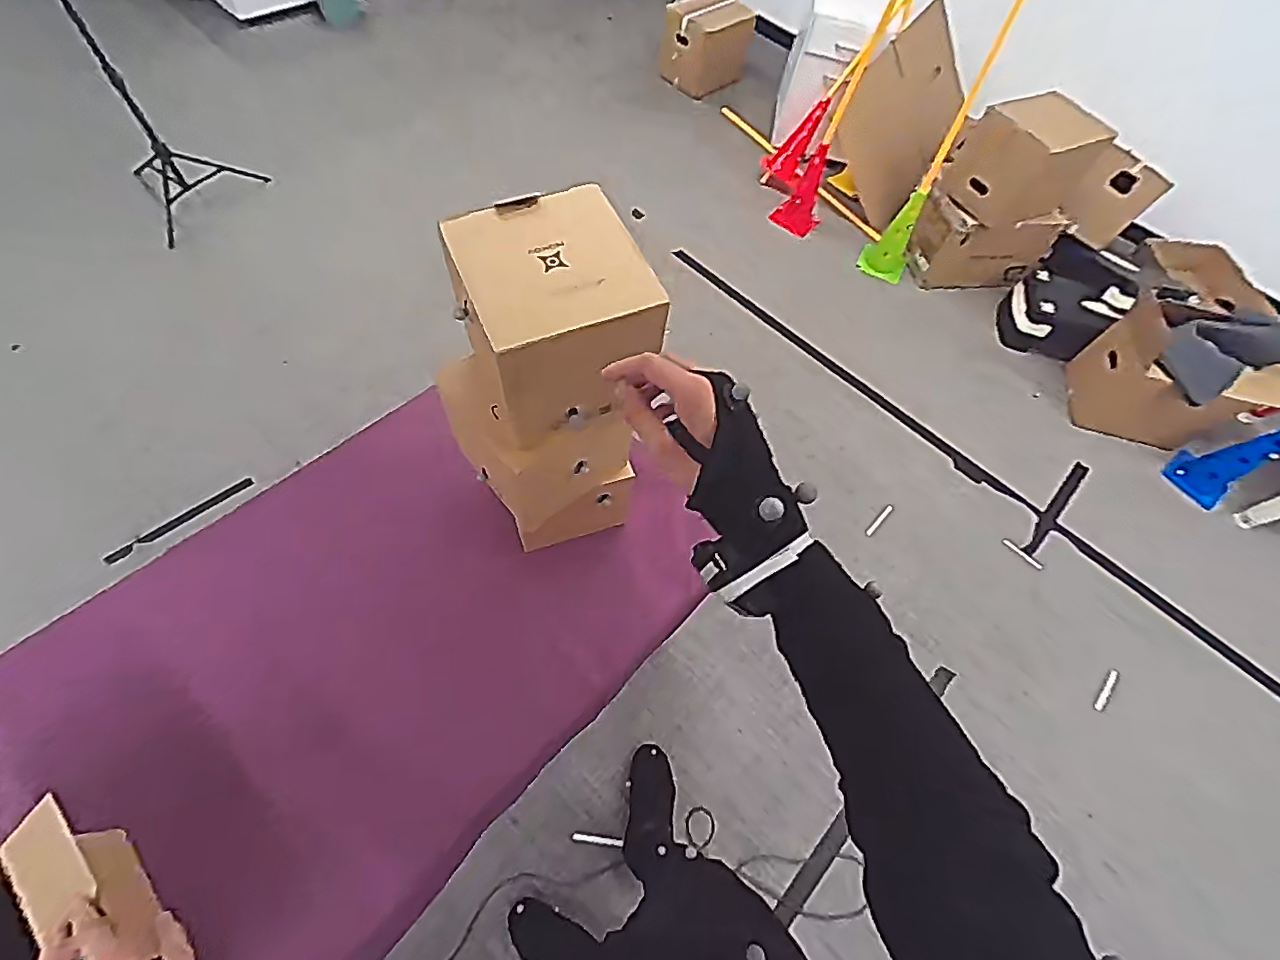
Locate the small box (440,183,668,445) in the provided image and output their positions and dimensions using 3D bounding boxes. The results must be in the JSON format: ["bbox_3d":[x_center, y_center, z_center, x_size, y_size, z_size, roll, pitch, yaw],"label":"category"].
[{"bbox_3d":[-0.089,-0.167,0.564,0.168,0.176,0.179,-20,68,-14],"label":"small box"}]

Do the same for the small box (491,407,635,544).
[{"bbox_3d":[-0.123,-0.019,0.855,0.179,0.176,0.168,-15,65,-14],"label":"small box"}]
